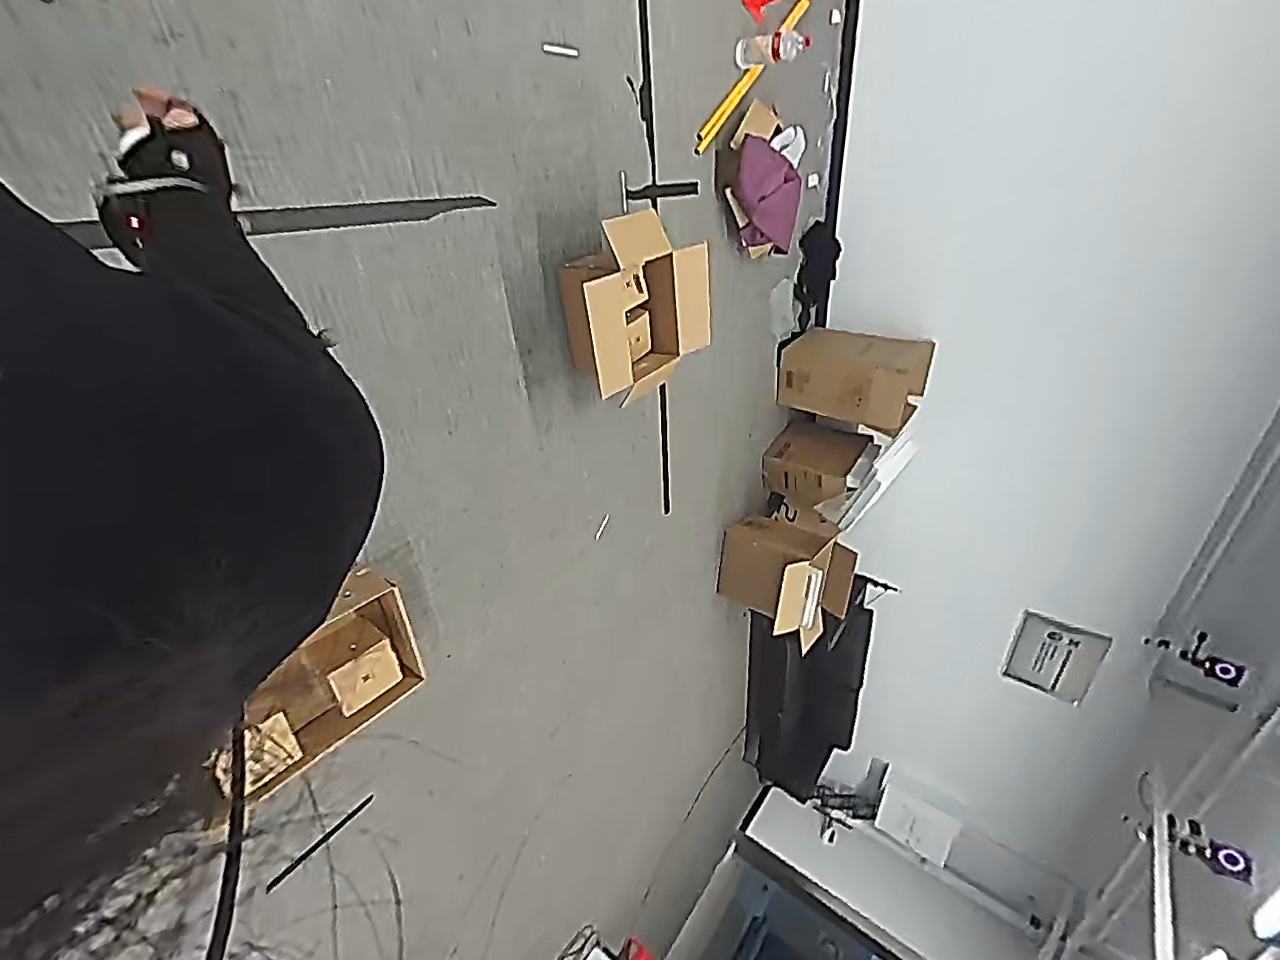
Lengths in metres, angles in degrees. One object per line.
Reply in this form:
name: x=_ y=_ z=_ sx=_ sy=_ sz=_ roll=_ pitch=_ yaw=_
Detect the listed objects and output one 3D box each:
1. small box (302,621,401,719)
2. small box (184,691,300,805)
small box: x=-0.834 y=0.540 z=1.565 sx=0.179 sy=0.176 sz=0.168 roll=-32 pitch=127 yaw=-41
small box: x=-1.012 y=0.667 z=1.374 sx=0.168 sy=0.176 sz=0.179 roll=-31 pitch=127 yaw=-45
